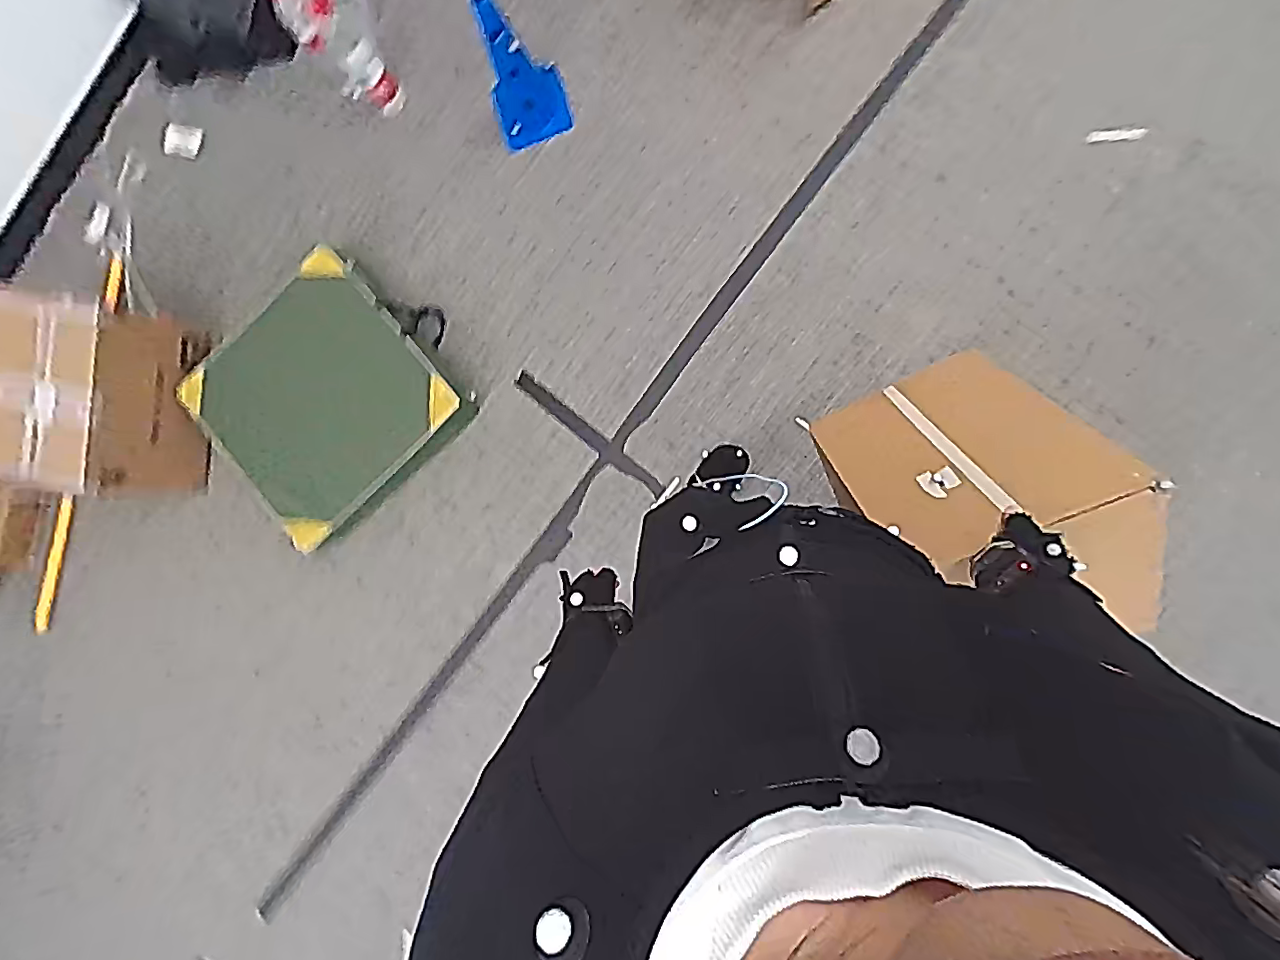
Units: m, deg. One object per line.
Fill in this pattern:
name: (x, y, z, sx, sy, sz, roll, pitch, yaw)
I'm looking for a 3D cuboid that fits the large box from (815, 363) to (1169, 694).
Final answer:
large box: (0.546, 0.070, 0.914, 0.320, 0.408, 0.320, -25, 124, 13)
